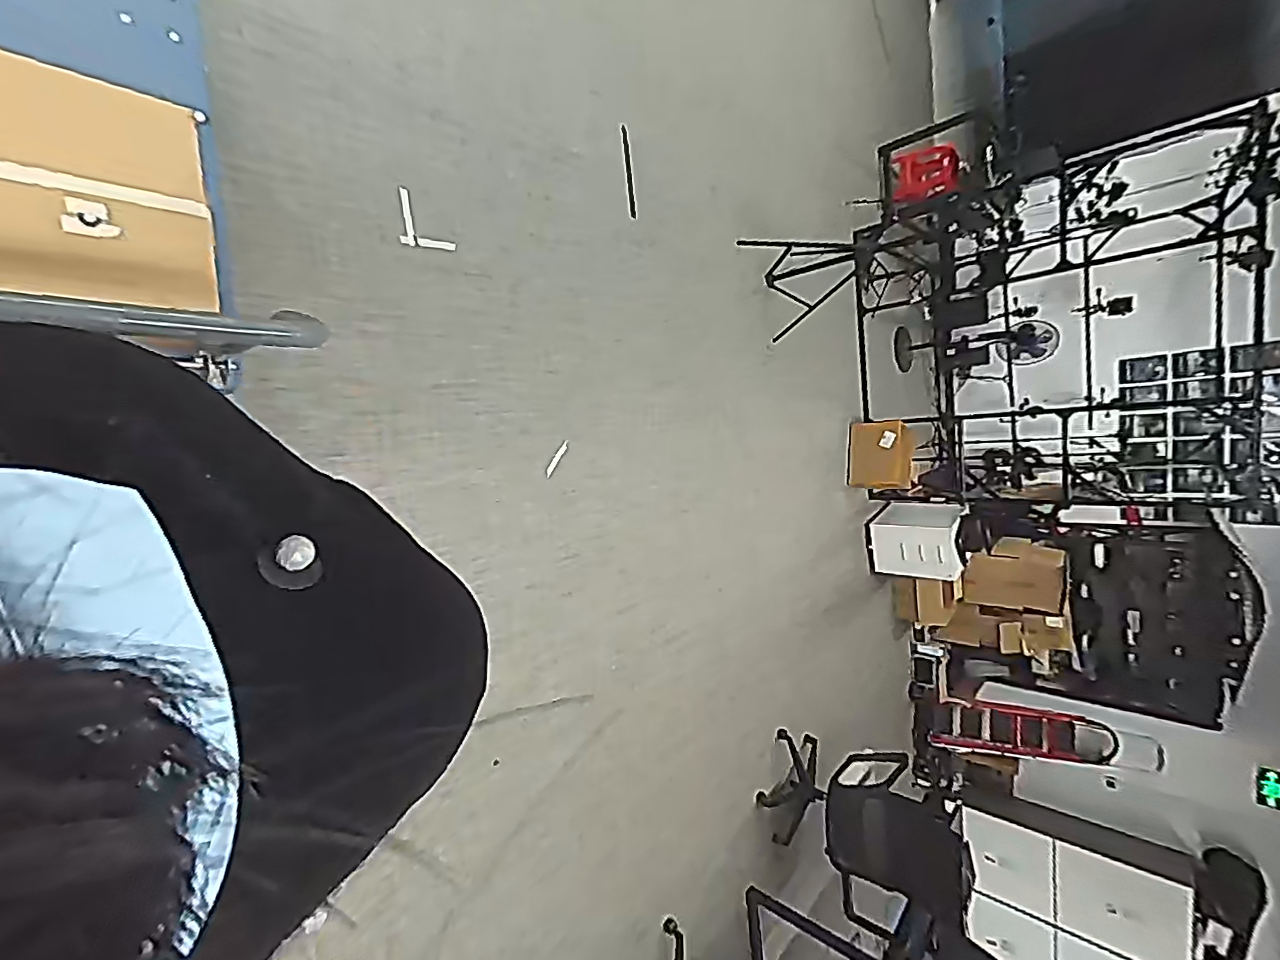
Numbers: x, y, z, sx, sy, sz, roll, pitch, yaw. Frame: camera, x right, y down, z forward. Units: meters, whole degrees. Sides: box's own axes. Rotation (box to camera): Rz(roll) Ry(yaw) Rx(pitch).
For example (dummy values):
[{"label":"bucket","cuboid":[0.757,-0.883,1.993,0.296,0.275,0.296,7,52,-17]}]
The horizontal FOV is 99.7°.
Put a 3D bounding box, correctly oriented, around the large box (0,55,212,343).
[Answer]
[{"label":"large box","cuboid":[-0.935,-0.396,0.799,0.408,0.320,0.320,-8,97,-49]}]
